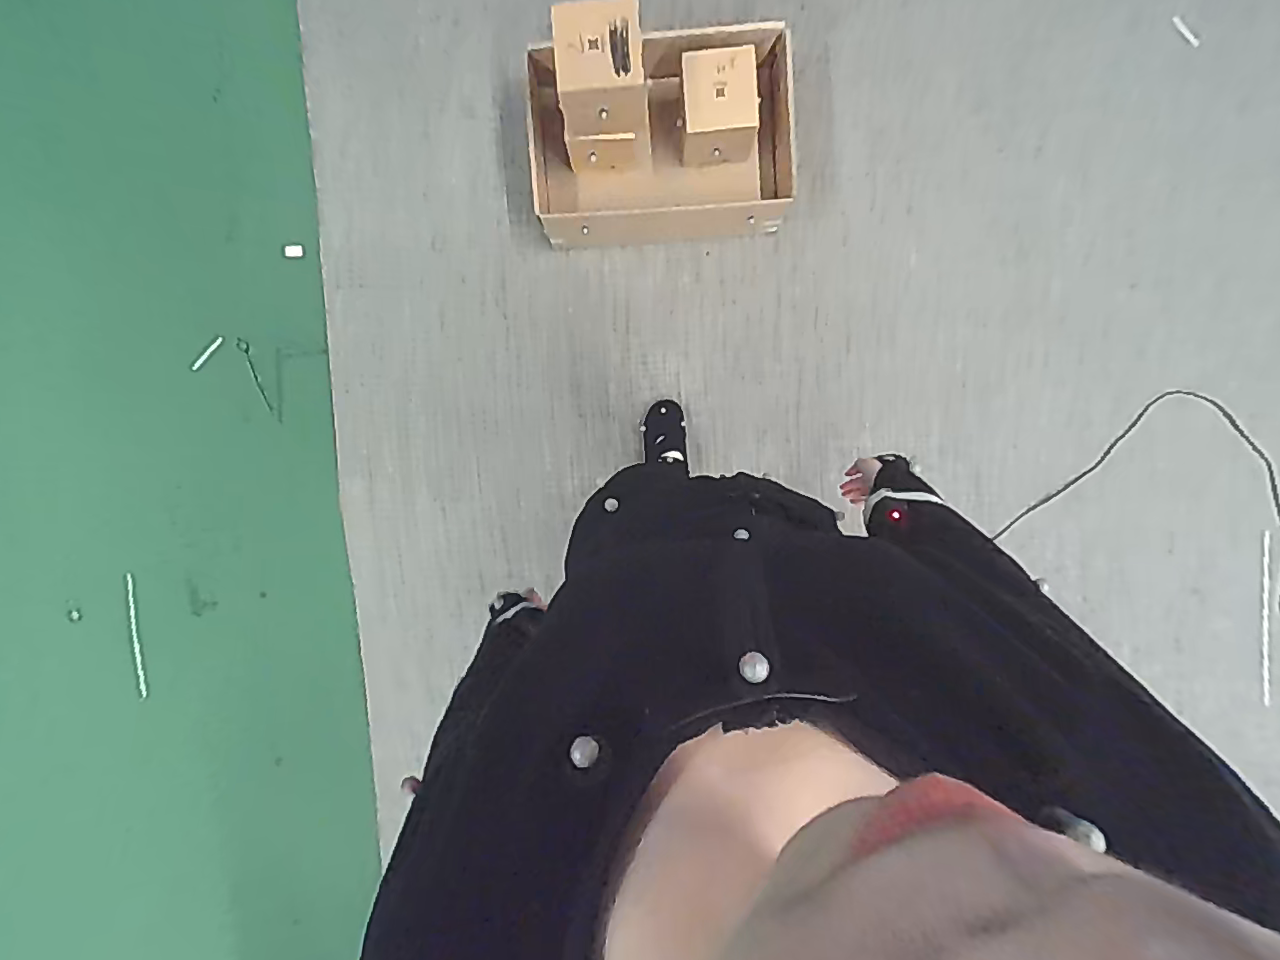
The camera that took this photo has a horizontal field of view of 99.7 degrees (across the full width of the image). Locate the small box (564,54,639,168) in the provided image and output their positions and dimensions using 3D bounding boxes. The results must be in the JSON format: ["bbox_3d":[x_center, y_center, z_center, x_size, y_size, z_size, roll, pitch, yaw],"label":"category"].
[{"bbox_3d":[-0.088,-0.875,1.298,0.168,0.176,0.179,0,94,1],"label":"small box"}]

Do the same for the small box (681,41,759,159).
[{"bbox_3d":[0.185,-0.890,1.288,0.168,0.176,0.179,-4,95,2],"label":"small box"}]
